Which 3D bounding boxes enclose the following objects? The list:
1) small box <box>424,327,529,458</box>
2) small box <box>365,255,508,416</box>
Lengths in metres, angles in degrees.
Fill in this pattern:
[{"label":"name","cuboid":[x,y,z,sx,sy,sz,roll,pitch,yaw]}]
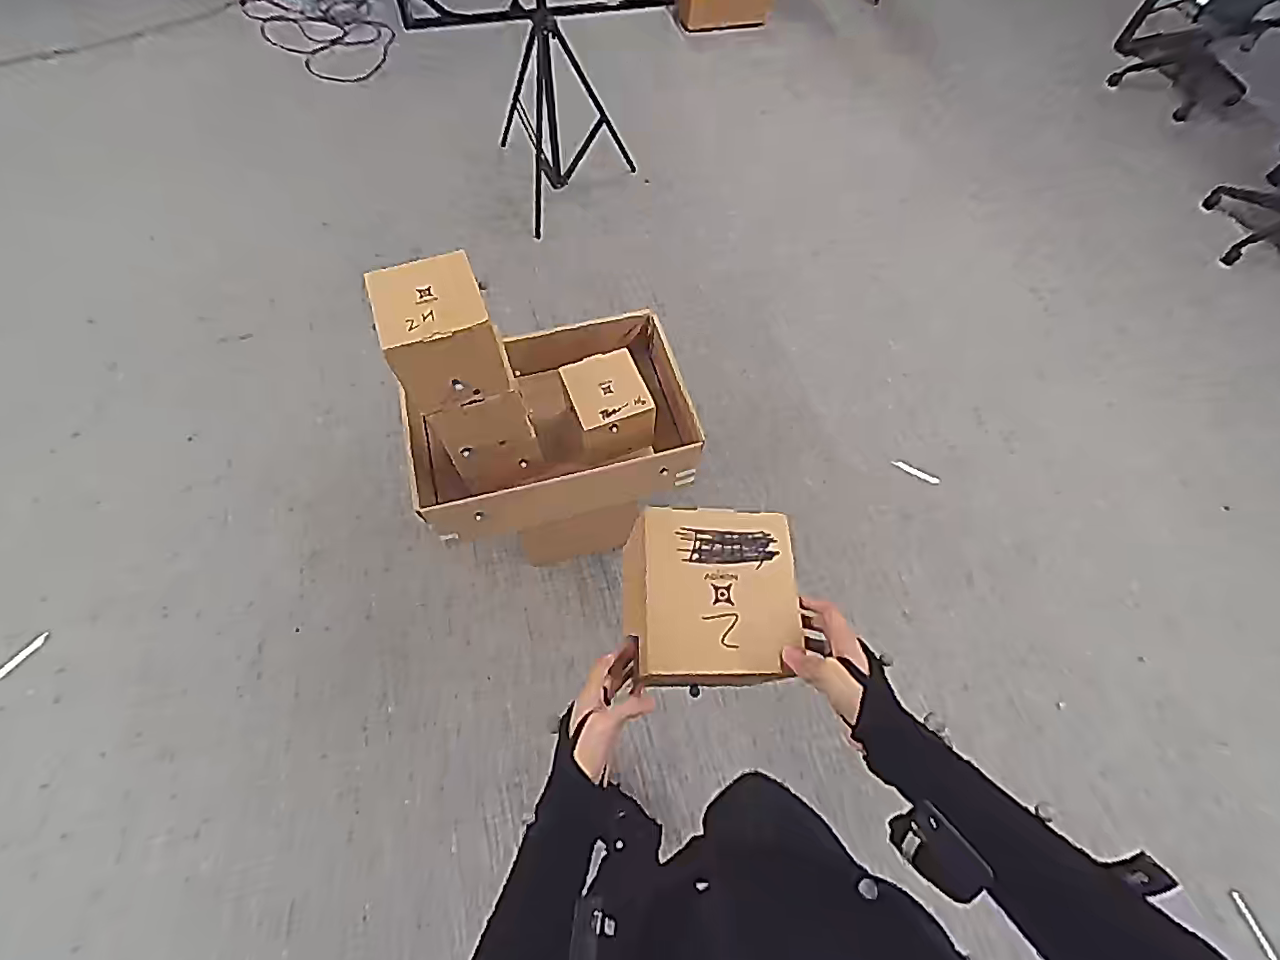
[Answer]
[{"label":"small box","cuboid":[-0.326,-0.162,1.059,0.168,0.176,0.179,-17,64,-10]},{"label":"small box","cuboid":[-0.336,-0.239,0.913,0.168,0.176,0.179,-19,64,-11]}]
